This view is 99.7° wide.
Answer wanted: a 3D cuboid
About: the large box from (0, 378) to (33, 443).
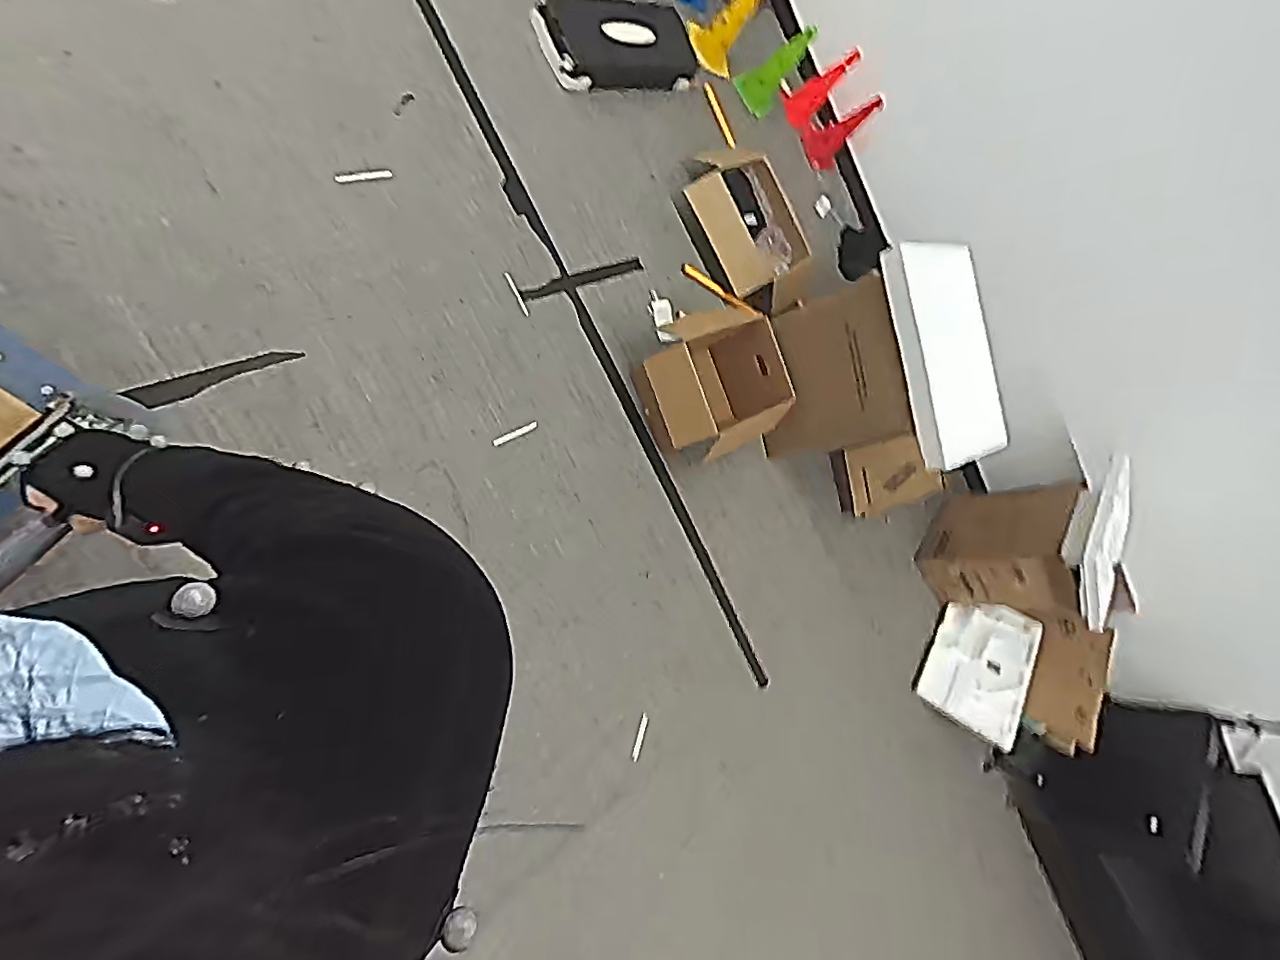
[{"bbox_3d":[-1.135,-0.053,0.690,0.320,0.320,0.408,51,55,-37],"label":"large box"}]
